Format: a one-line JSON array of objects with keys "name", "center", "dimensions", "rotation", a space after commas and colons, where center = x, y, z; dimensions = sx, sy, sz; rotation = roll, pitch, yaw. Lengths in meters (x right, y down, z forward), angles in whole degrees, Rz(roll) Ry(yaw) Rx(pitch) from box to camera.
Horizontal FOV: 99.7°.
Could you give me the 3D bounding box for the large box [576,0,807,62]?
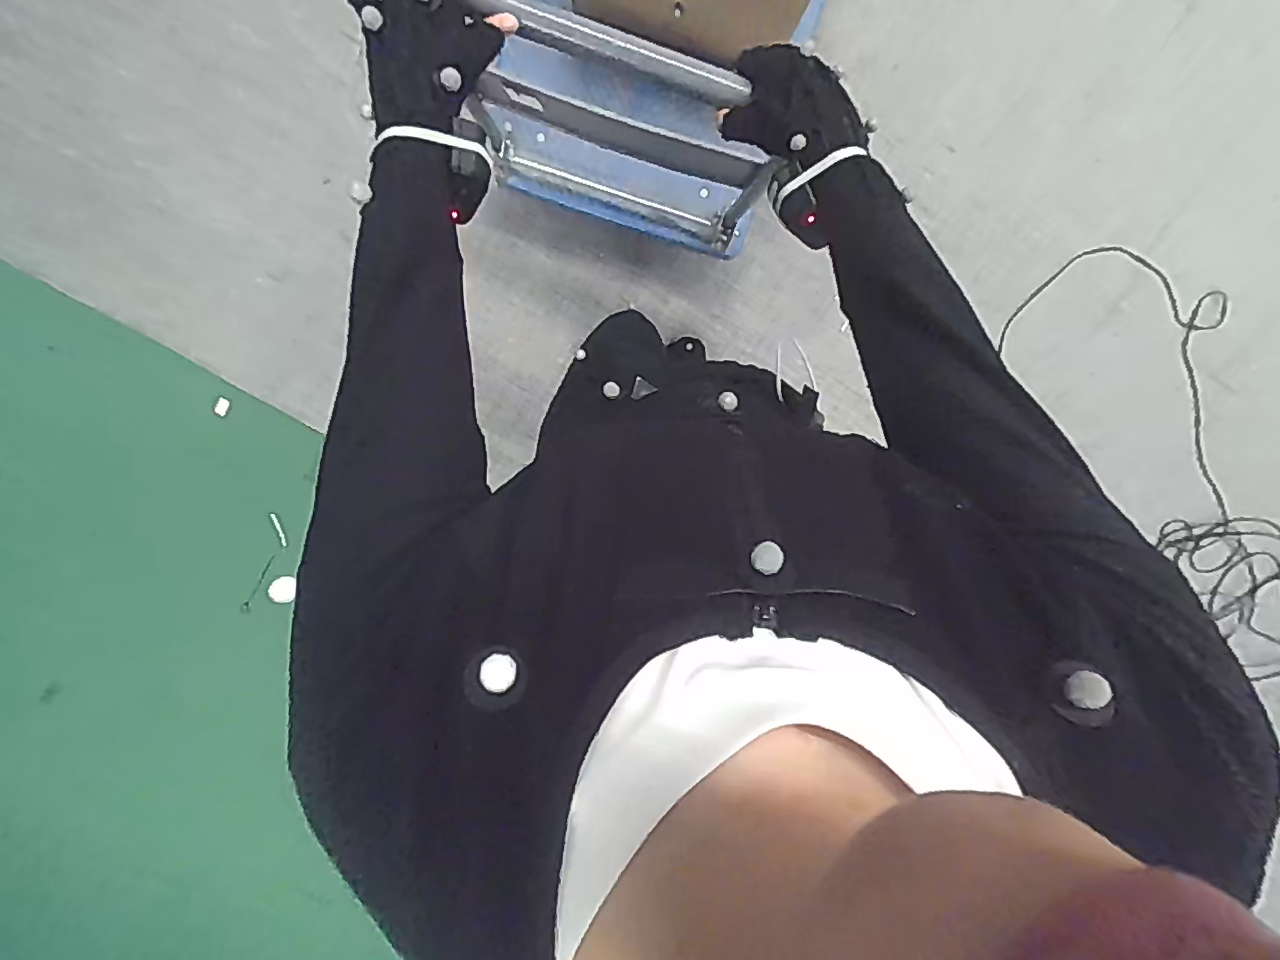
[{"name": "large box", "center": [0.104, -0.960, 0.877], "dimensions": [0.408, 0.320, 0.320], "rotation": [13, 106, -3]}]
